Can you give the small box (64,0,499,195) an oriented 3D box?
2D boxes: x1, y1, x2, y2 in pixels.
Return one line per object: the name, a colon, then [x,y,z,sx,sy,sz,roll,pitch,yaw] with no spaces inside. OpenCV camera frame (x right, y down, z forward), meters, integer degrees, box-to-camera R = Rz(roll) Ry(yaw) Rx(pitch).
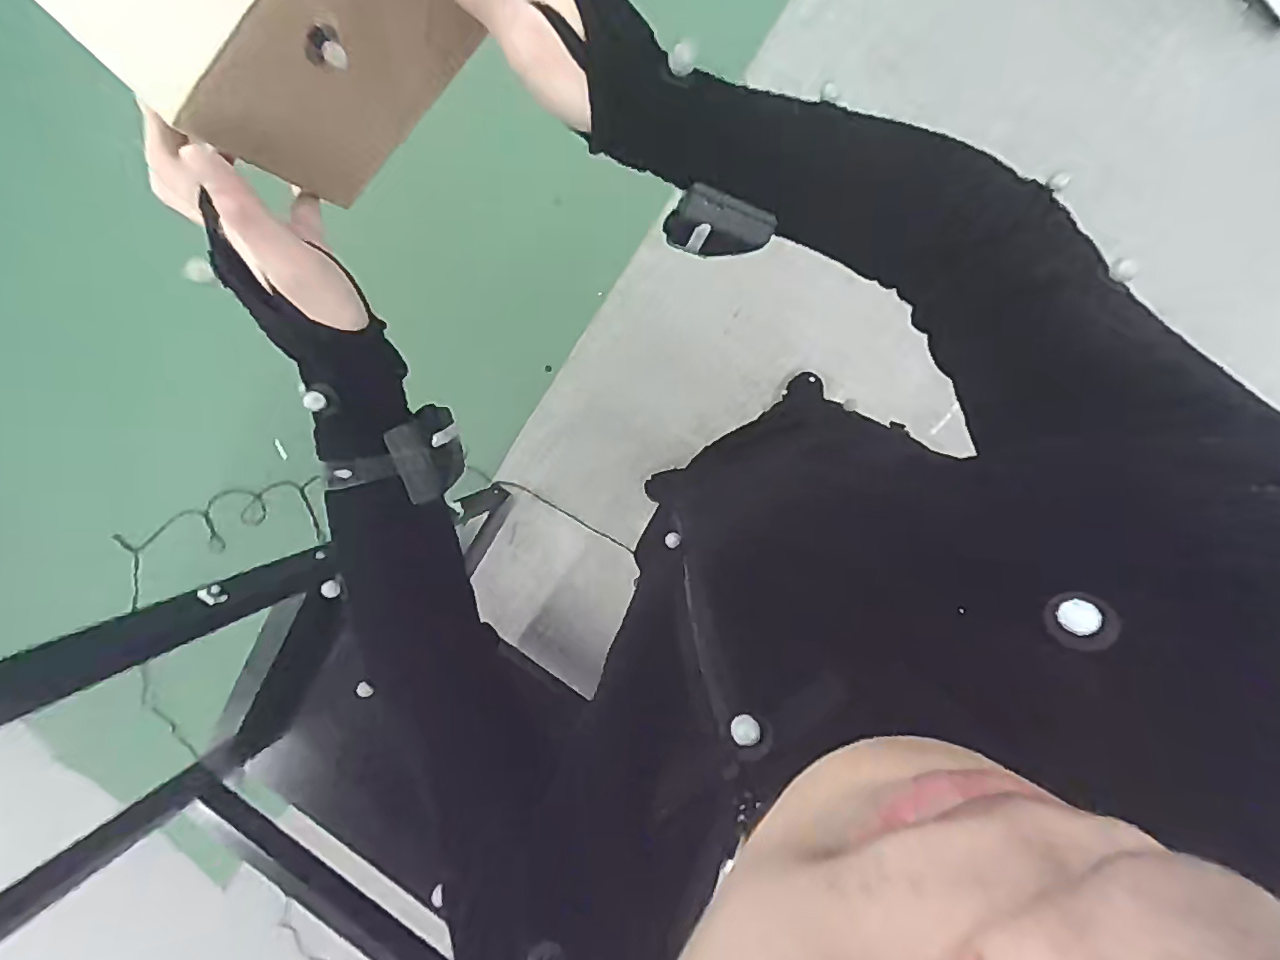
small box: [-0.206,-0.301,0.306,0.179,0.176,0.168,-43,101,8]
